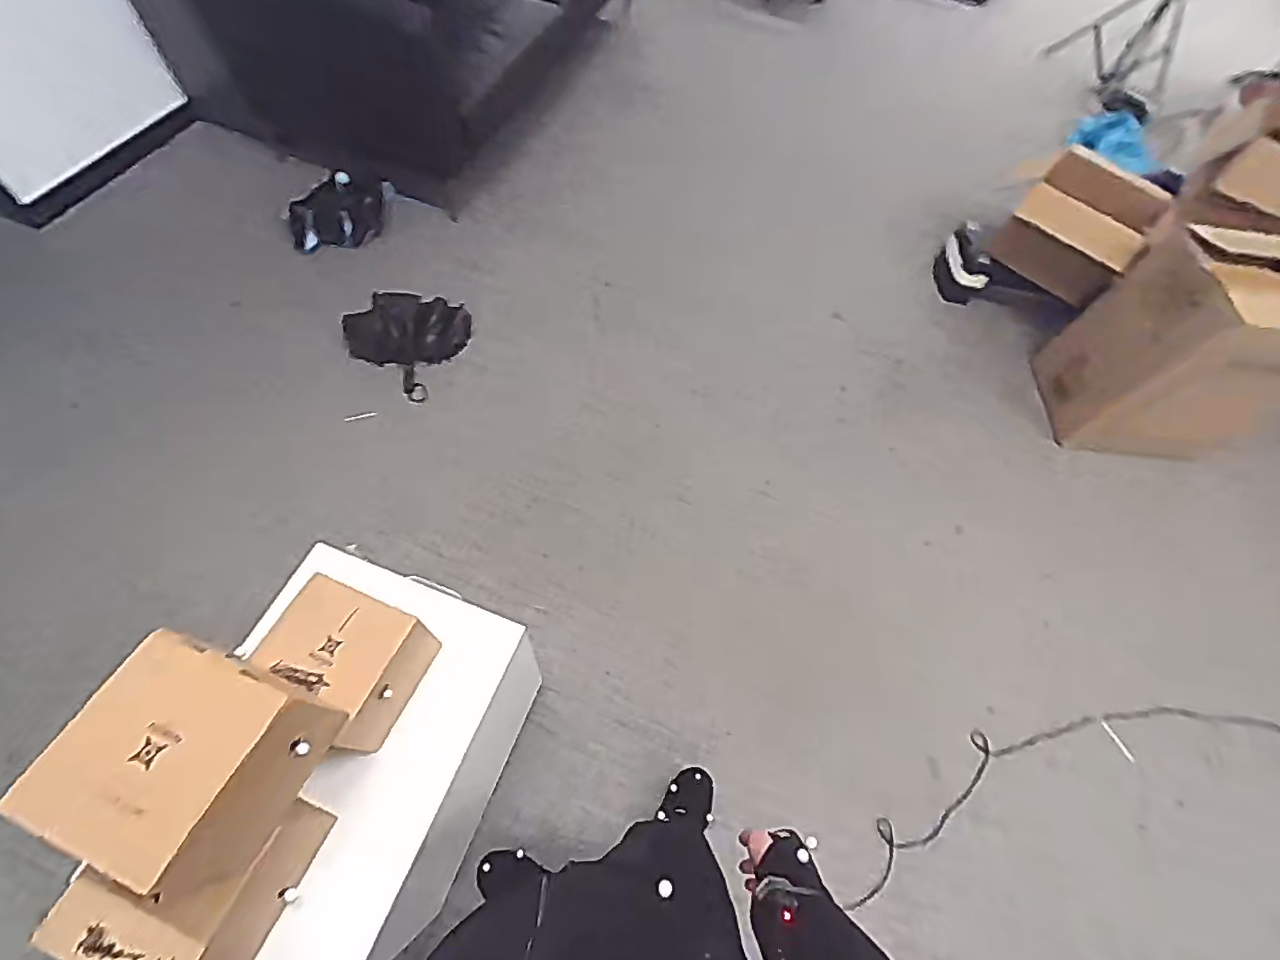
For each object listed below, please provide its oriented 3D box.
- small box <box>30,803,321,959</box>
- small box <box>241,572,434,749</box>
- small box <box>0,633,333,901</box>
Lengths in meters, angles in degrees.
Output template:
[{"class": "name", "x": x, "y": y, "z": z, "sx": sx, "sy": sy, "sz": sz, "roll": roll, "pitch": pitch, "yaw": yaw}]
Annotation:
[{"class": "small box", "x": -0.520, "y": 0.470, "z": 0.647, "sx": 0.168, "sy": 0.176, "sz": 0.179, "roll": 21, "pitch": 58, "yaw": 6}, {"class": "small box", "x": -0.421, "y": 0.264, "z": 0.772, "sx": 0.168, "sy": 0.176, "sz": 0.179, "roll": 23, "pitch": 60, "yaw": 6}, {"class": "small box", "x": -0.461, "y": 0.290, "z": 0.567, "sx": 0.168, "sy": 0.176, "sz": 0.179, "roll": 22, "pitch": 62, "yaw": 7}]
